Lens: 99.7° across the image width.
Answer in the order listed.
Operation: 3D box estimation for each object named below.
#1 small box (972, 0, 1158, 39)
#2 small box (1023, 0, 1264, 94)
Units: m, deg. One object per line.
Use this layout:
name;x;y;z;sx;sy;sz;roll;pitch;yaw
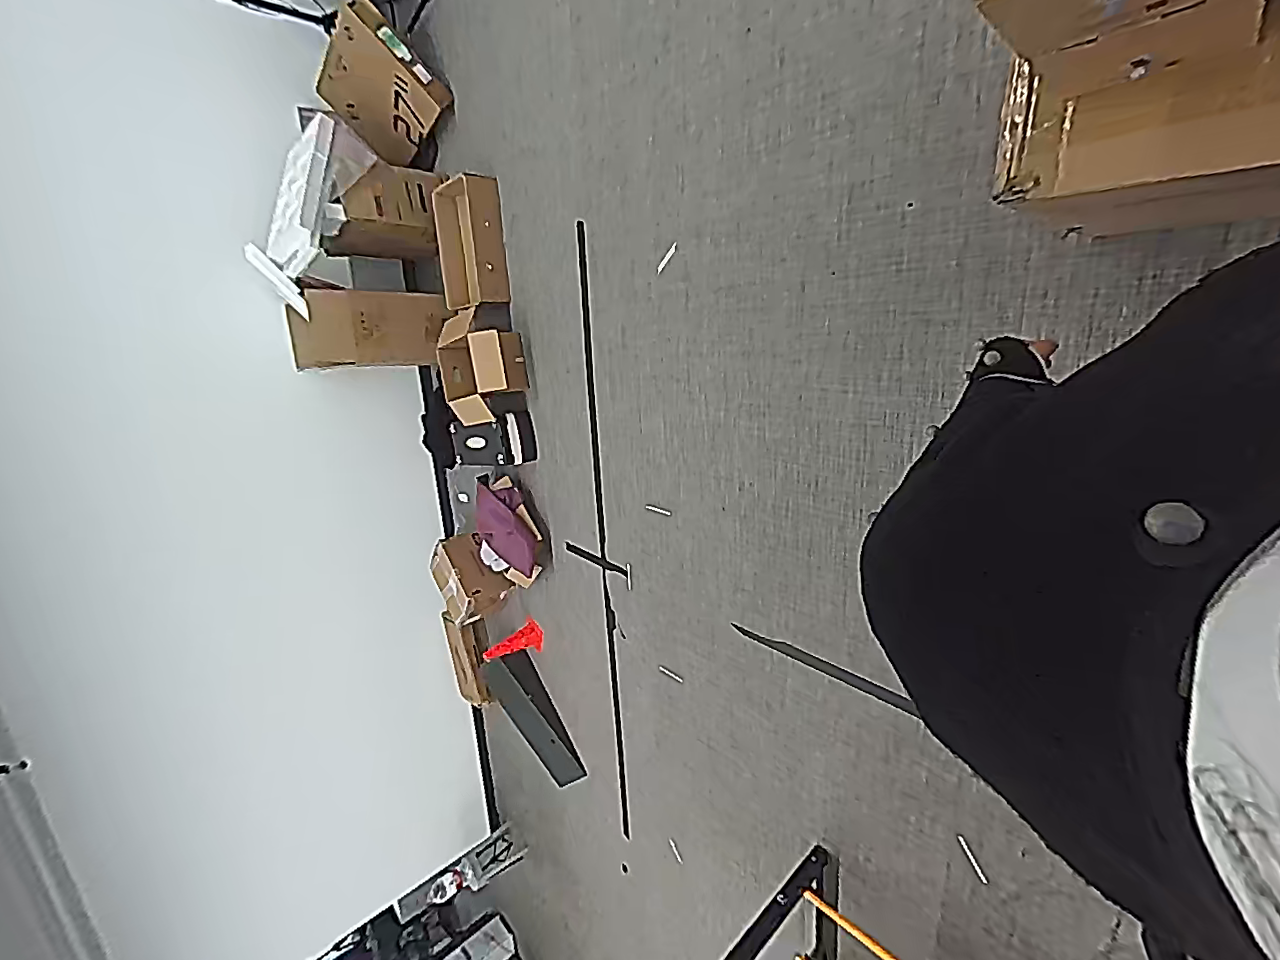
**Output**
small box;0.384;-0.488;0.423;0.168;0.176;0.179;11;111;47
small box;0.505;-0.521;0.529;0.168;0.176;0.179;14;113;46
